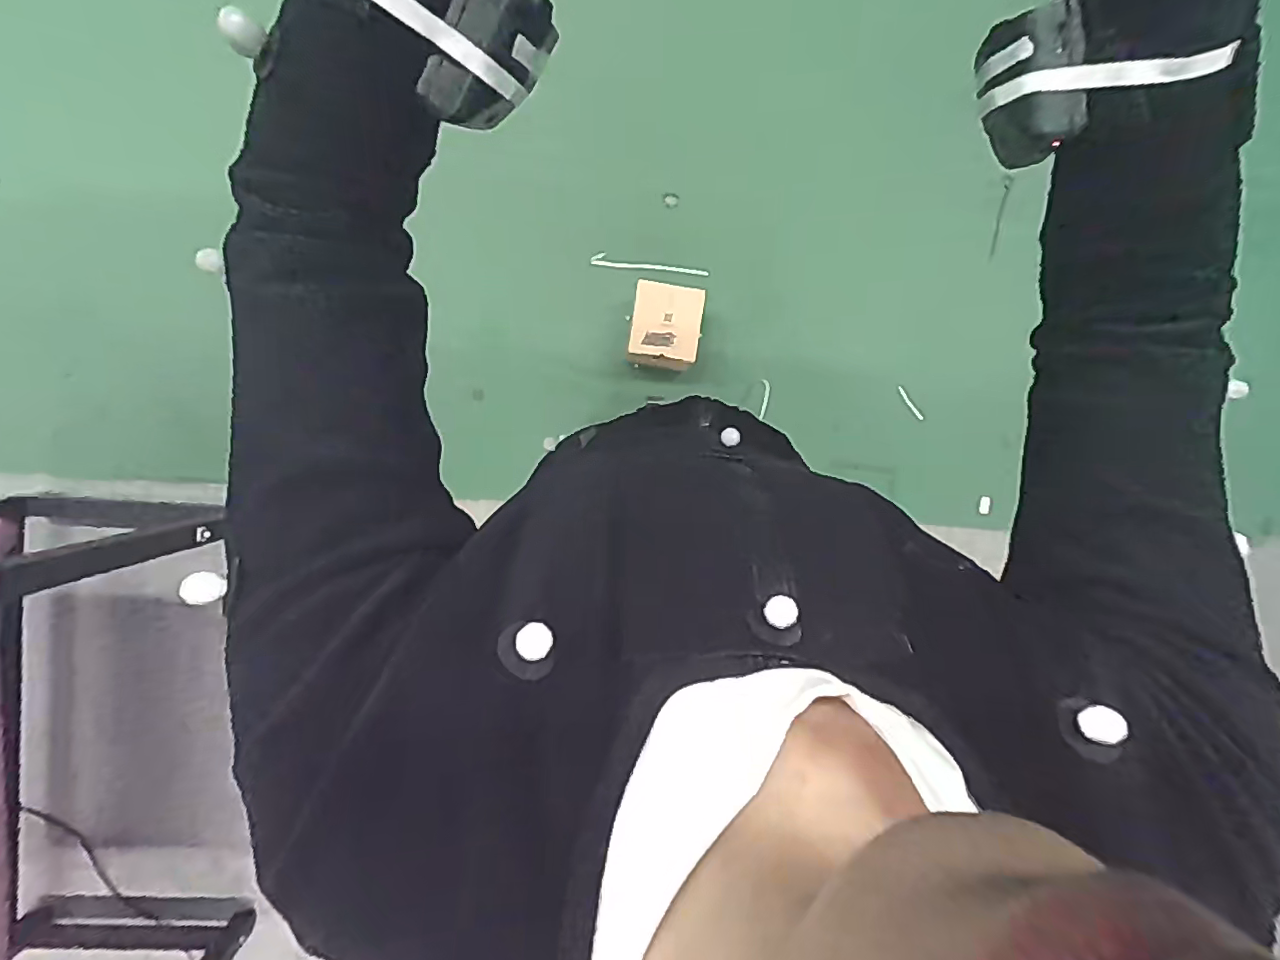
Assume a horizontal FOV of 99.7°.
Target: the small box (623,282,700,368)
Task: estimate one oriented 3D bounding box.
[{"bbox_3d":[0.048,-0.383,1.366,0.168,0.176,0.179,5,95,-5],"label":"small box"}]
